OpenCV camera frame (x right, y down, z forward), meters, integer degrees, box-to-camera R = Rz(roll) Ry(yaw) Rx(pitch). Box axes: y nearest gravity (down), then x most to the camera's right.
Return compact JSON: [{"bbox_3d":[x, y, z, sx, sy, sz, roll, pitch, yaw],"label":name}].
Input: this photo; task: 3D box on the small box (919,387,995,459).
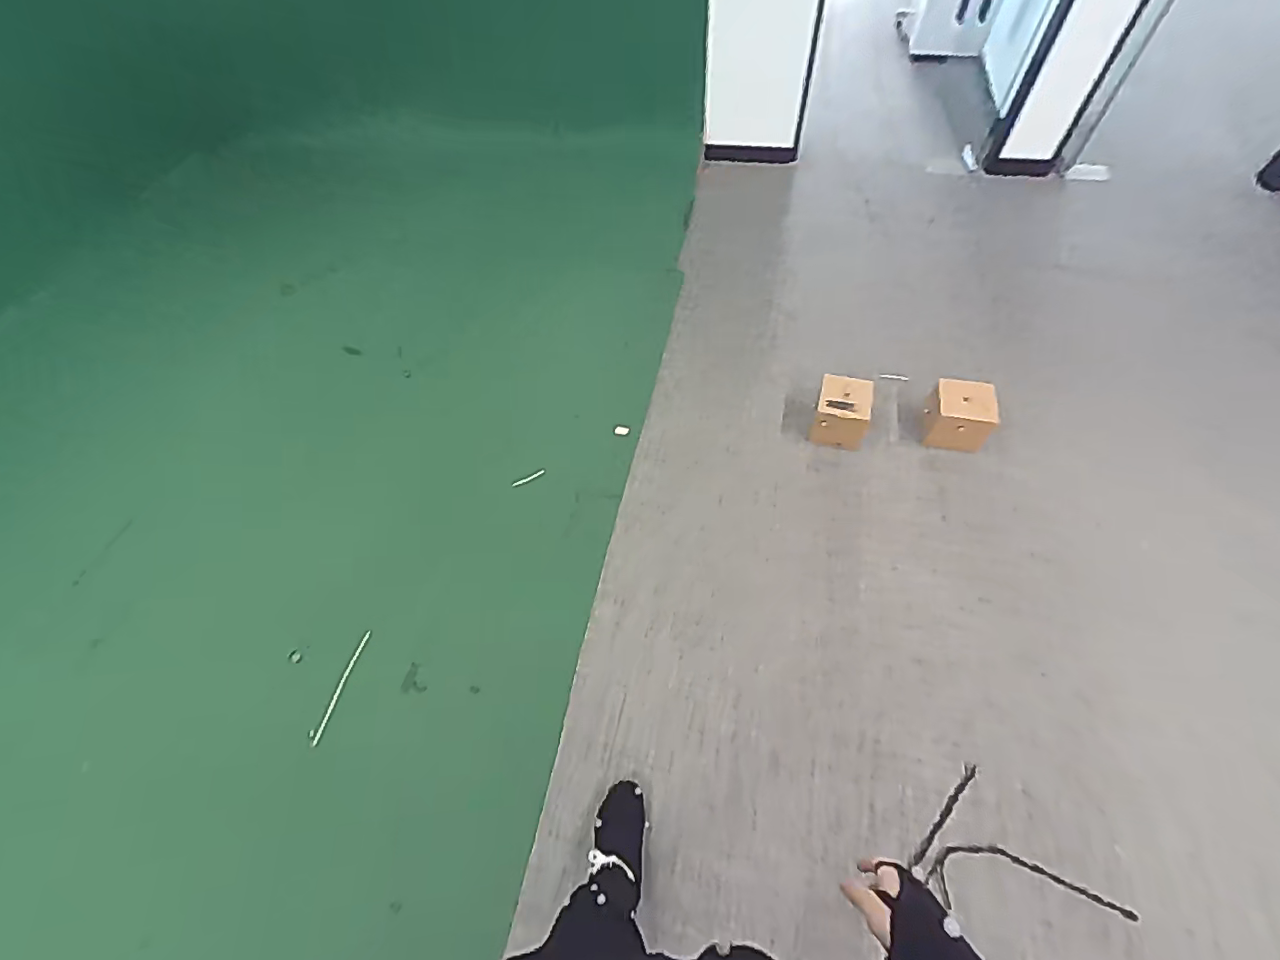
[{"bbox_3d":[1.061,-0.188,1.828,0.179,0.176,0.168,10,59,9],"label":"small box"}]
